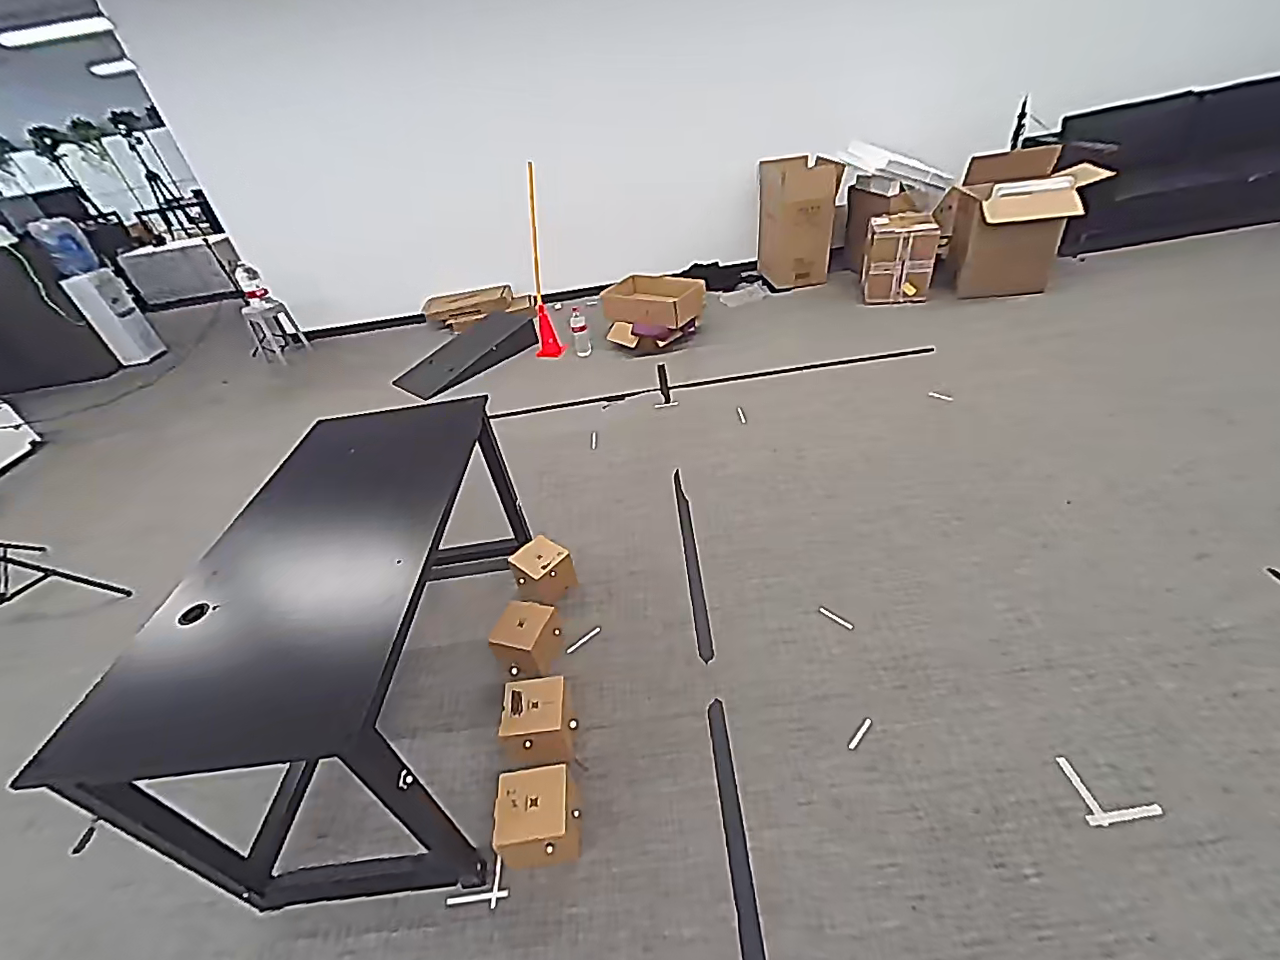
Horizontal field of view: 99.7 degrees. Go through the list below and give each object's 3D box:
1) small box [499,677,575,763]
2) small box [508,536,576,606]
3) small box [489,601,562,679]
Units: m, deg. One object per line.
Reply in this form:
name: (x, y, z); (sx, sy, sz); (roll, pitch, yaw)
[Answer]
small box: (-0.295, 0.703, 1.579); (0.179, 0.176, 0.168); (-8, 37, 1)
small box: (-0.368, 0.350, 2.055); (0.179, 0.176, 0.168); (23, 48, 35)
small box: (-0.375, 0.537, 1.817); (0.168, 0.176, 0.179); (4, 40, 19)
